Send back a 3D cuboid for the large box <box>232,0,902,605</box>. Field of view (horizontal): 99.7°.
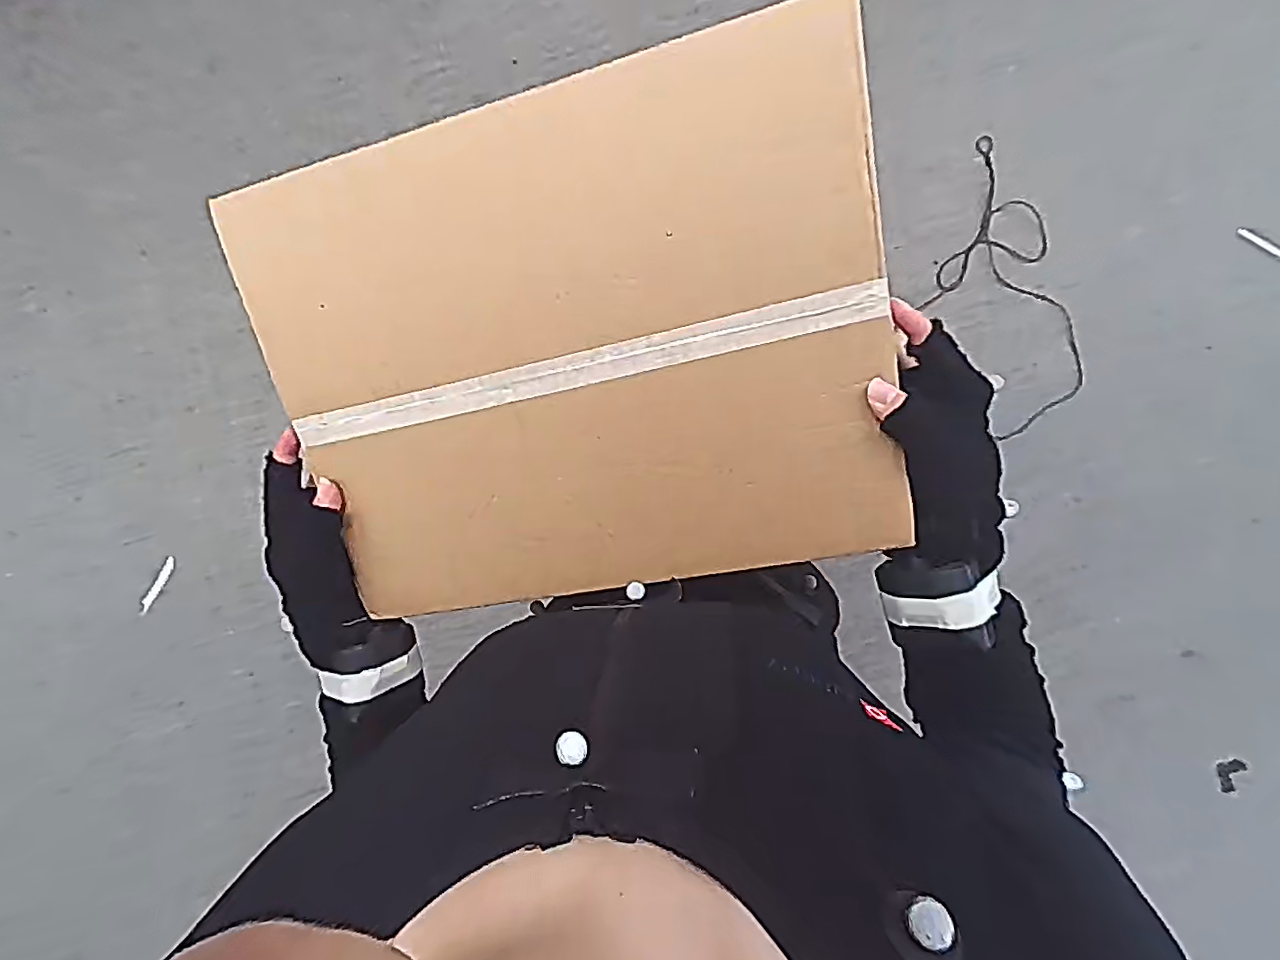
[{"bbox_3d":[-0.027,-0.121,0.498,0.408,0.320,0.320,-10,104,12],"label":"large box"}]
